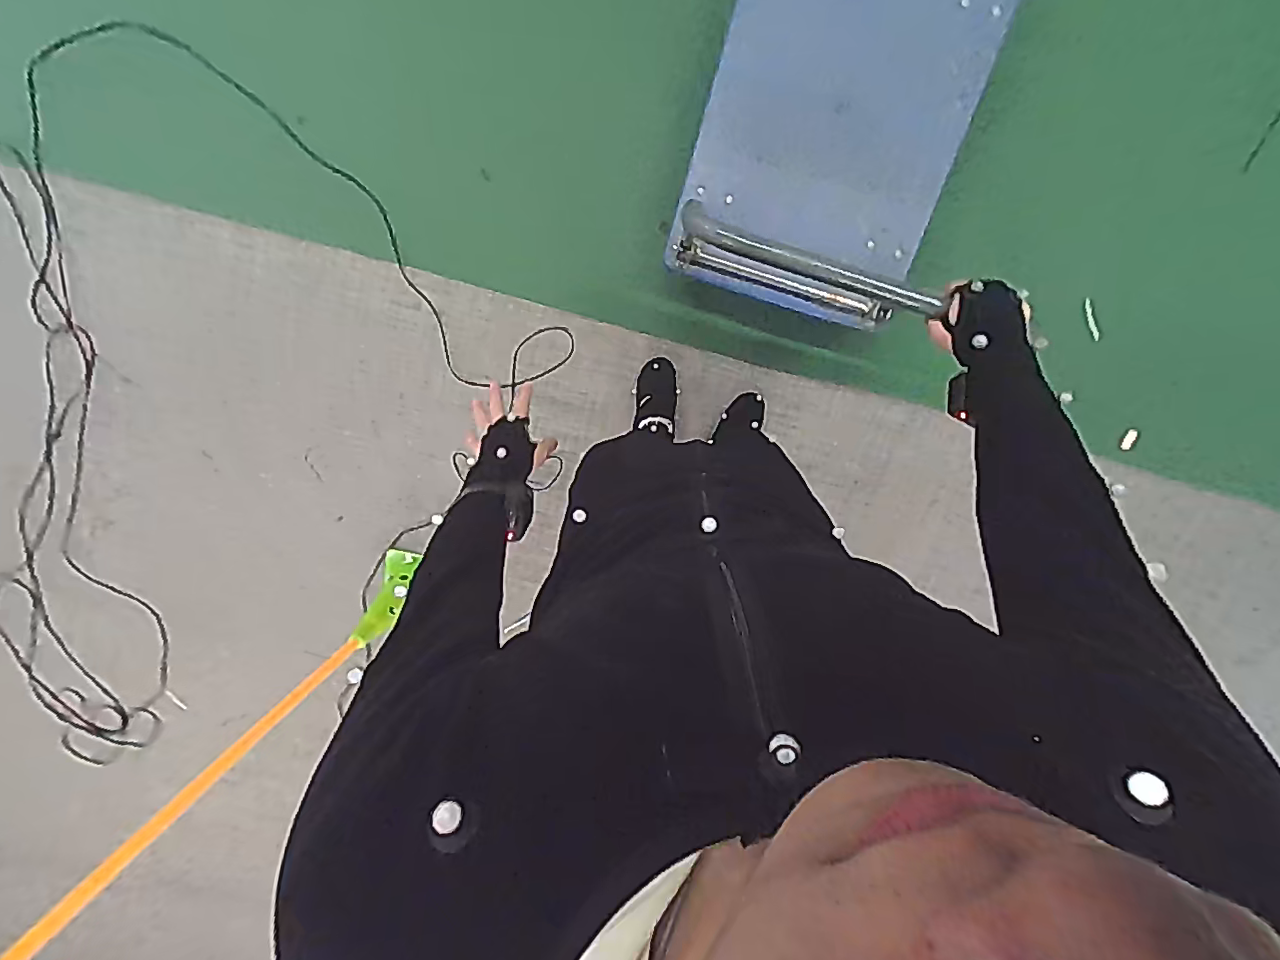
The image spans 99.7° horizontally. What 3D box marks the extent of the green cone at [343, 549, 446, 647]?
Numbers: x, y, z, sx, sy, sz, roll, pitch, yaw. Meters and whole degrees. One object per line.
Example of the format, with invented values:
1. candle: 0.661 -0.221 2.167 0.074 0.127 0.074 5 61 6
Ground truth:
1. green cone: -0.748 0.376 1.598 0.202 0.368 0.200 12 106 1
